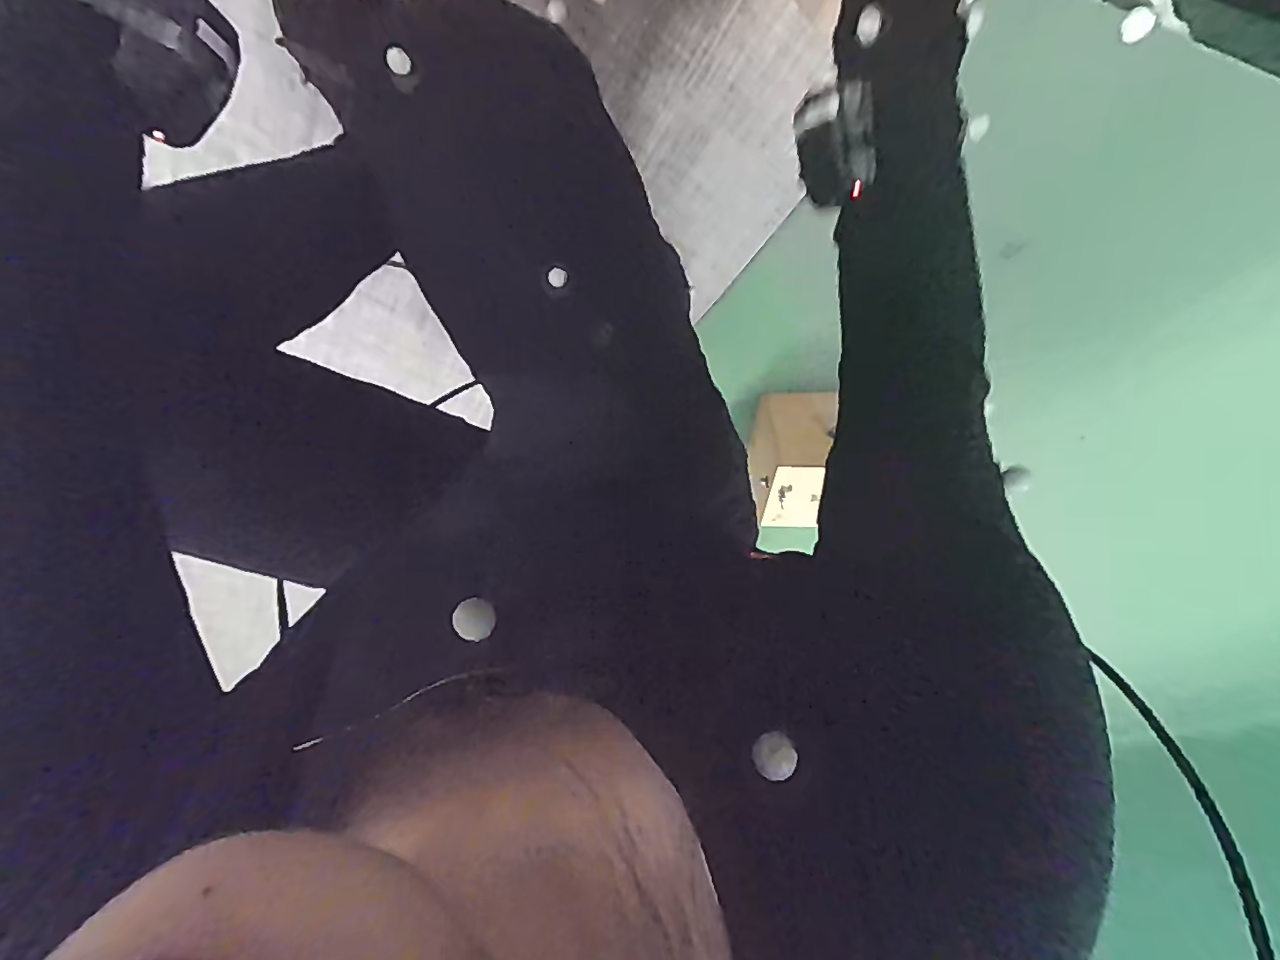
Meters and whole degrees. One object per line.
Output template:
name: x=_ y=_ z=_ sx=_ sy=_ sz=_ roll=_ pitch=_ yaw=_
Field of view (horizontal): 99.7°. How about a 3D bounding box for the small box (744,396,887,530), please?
small box: x=0.286 y=-0.030 z=0.926 sx=0.179 sy=0.176 sz=0.168 roll=-1 pitch=142 yaw=-1
